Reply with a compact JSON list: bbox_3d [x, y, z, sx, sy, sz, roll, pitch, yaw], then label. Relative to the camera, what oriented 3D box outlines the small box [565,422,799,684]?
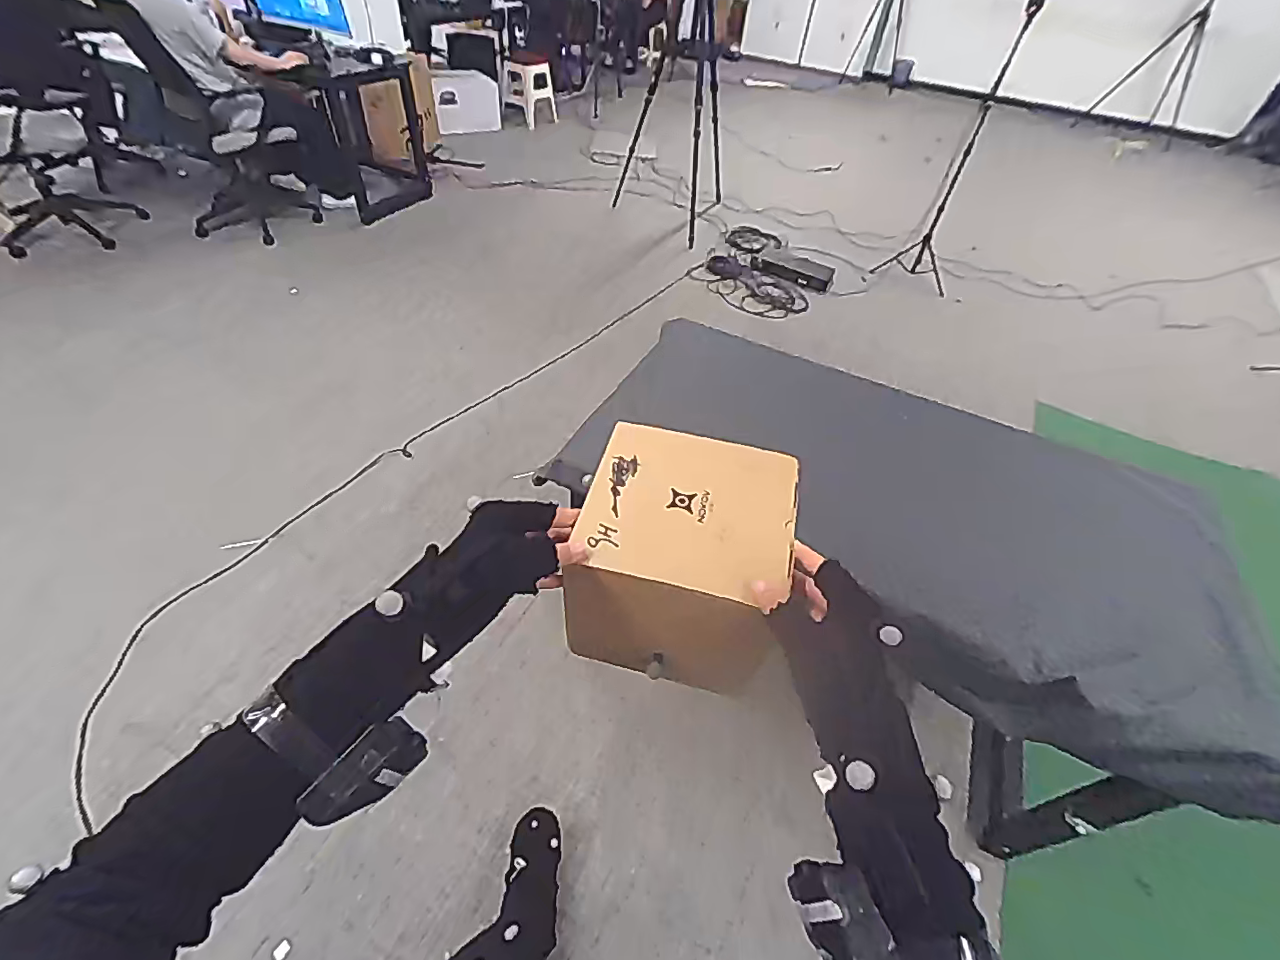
[{"bbox_3d":[0.038,0.075,0.521,0.179,0.176,0.168,14,48,6],"label":"small box"}]
